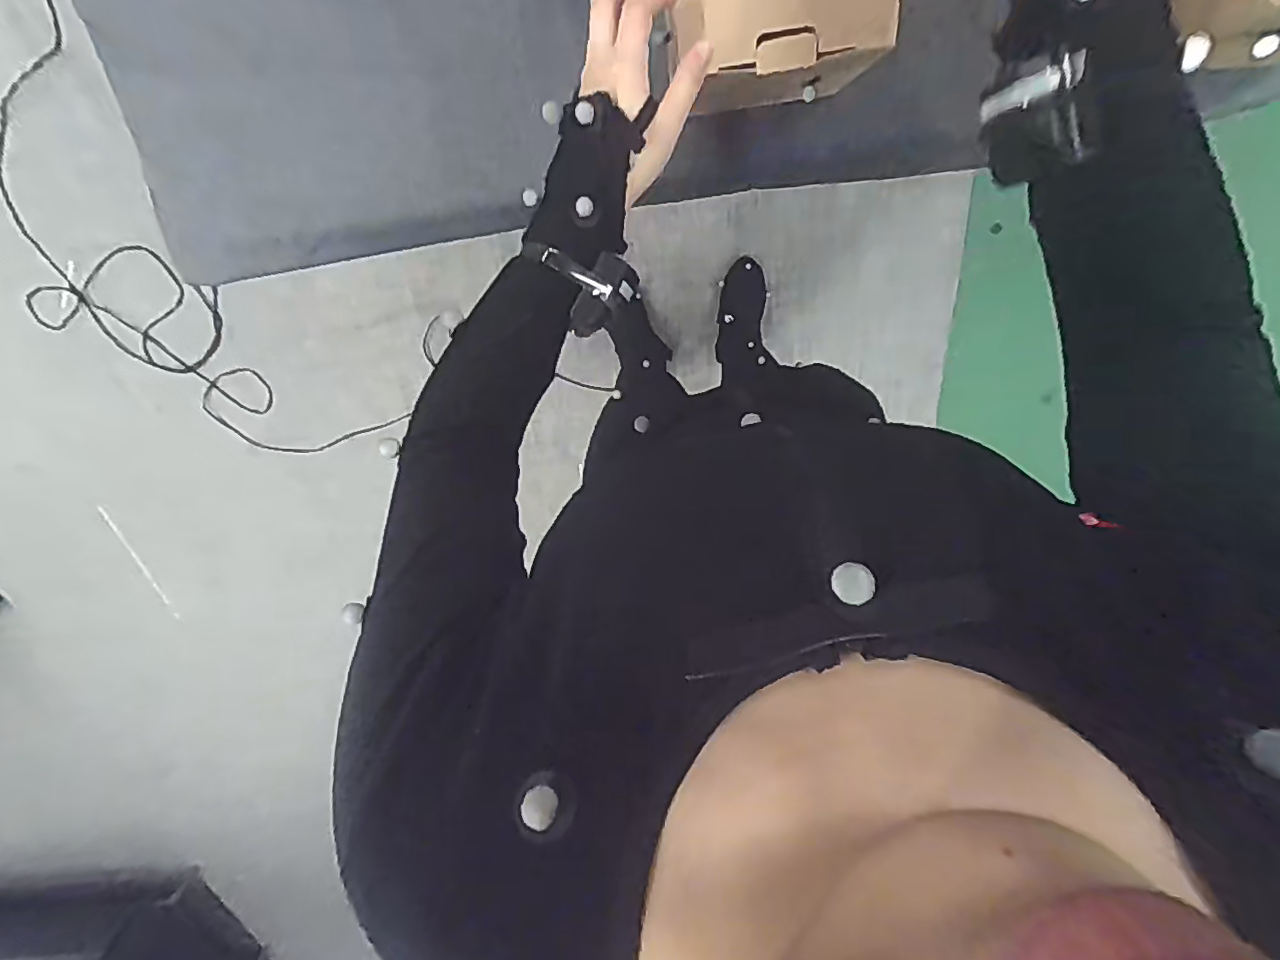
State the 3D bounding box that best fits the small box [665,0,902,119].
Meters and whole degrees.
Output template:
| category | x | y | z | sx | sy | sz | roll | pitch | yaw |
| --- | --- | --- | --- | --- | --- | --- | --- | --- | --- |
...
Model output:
| category | x | y | z | sx | sy | sz | roll | pitch | yaw |
| --- | --- | --- | --- | --- | --- | --- | --- | --- | --- |
| small box | 0.104 | -0.415 | 0.443 | 0.168 | 0.176 | 0.179 | -5 | 114 | 5 |
